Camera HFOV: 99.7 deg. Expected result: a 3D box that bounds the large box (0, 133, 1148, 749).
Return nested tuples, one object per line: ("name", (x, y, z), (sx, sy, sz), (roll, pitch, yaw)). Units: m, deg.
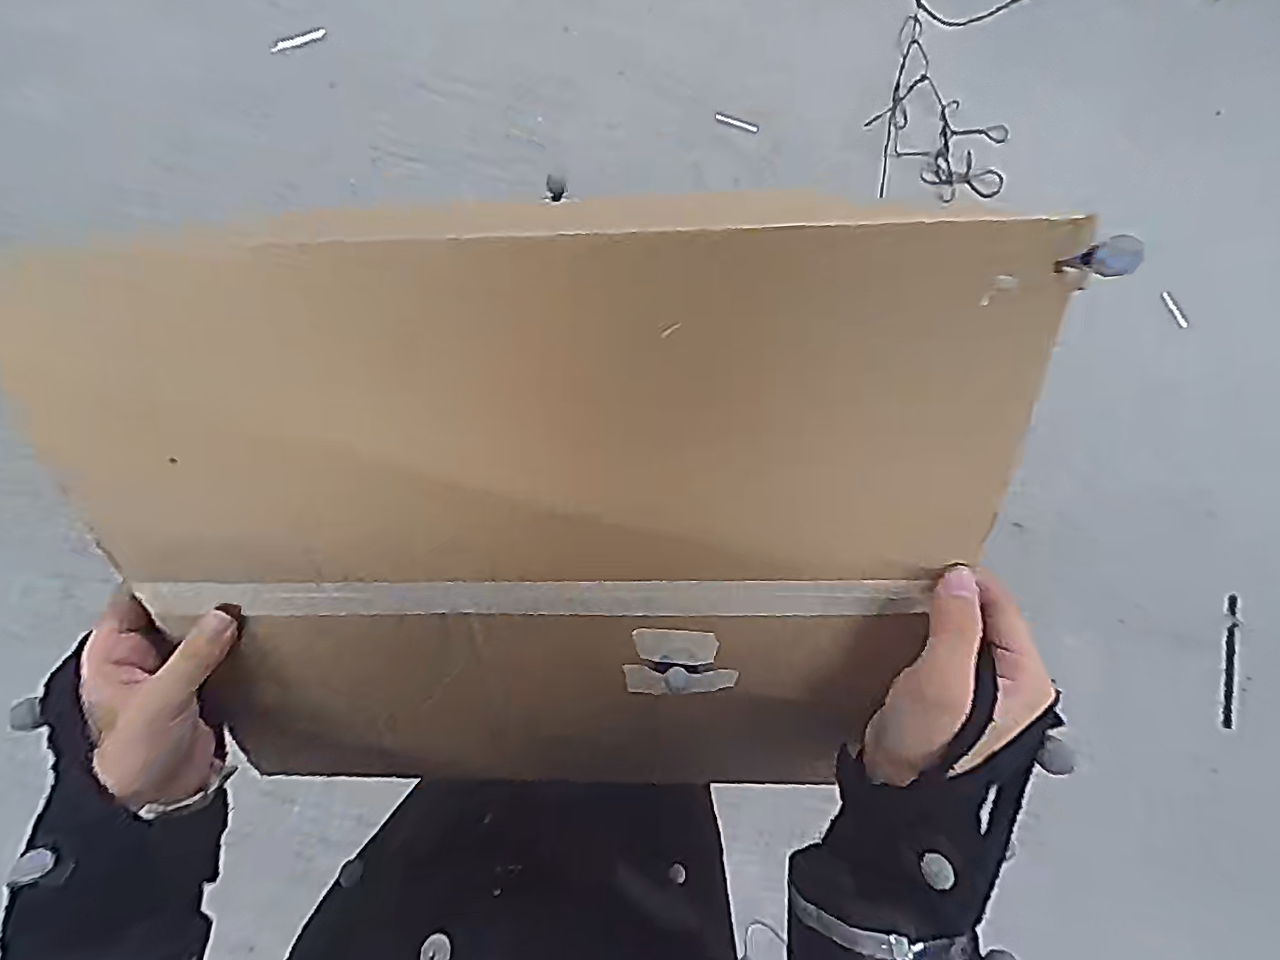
("large box", (-0.025, -0.044, 0.383), (0.408, 0.320, 0.320), (0, 120, 2))
